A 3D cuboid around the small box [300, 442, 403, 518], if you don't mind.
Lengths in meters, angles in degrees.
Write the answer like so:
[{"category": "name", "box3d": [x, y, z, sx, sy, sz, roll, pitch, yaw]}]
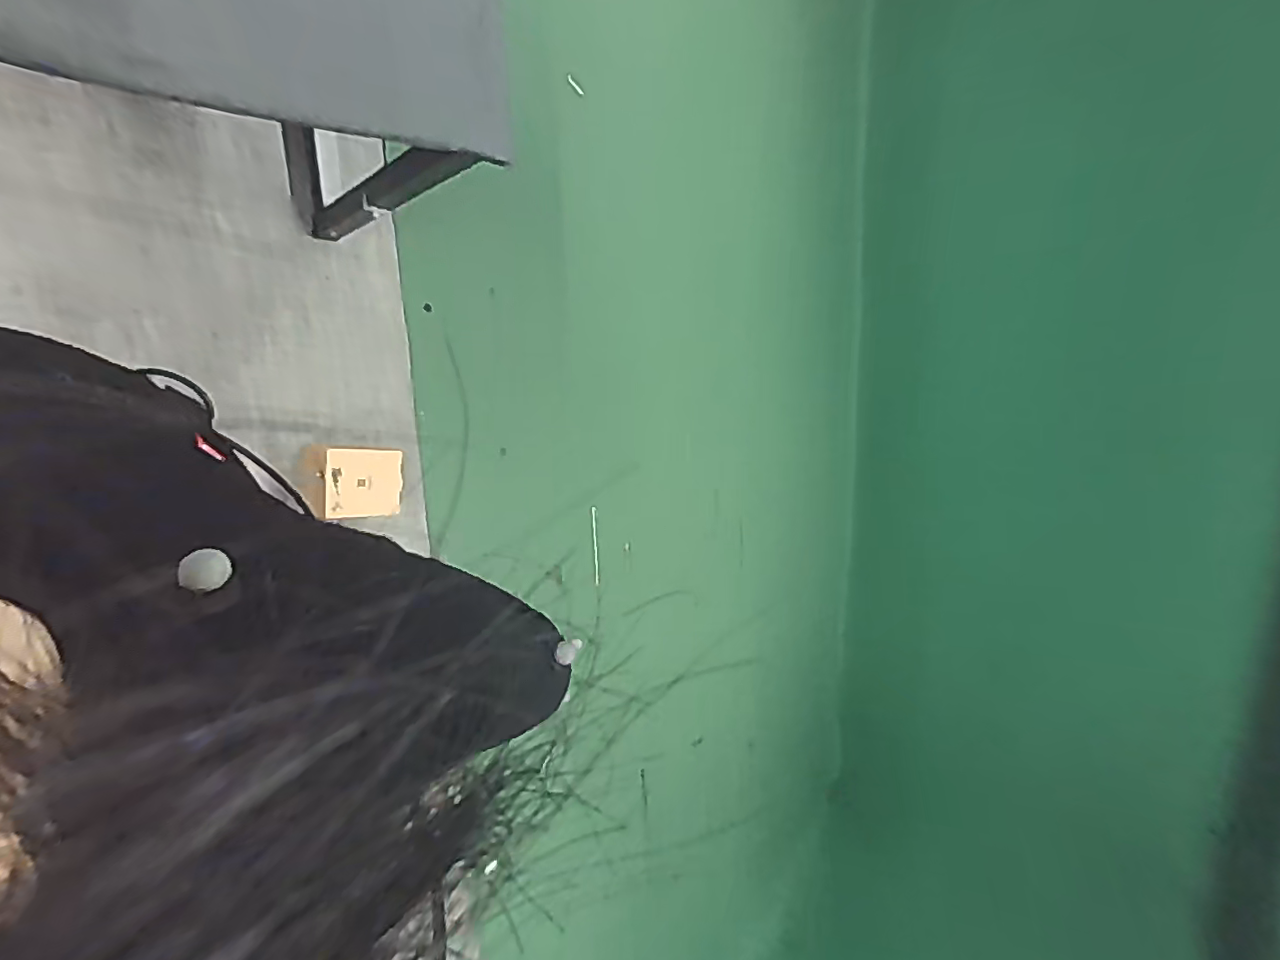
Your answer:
[{"category": "small box", "box3d": [-0.719, -0.004, 1.348, 0.179, 0.176, 0.168, 0, 97, -47]}]
